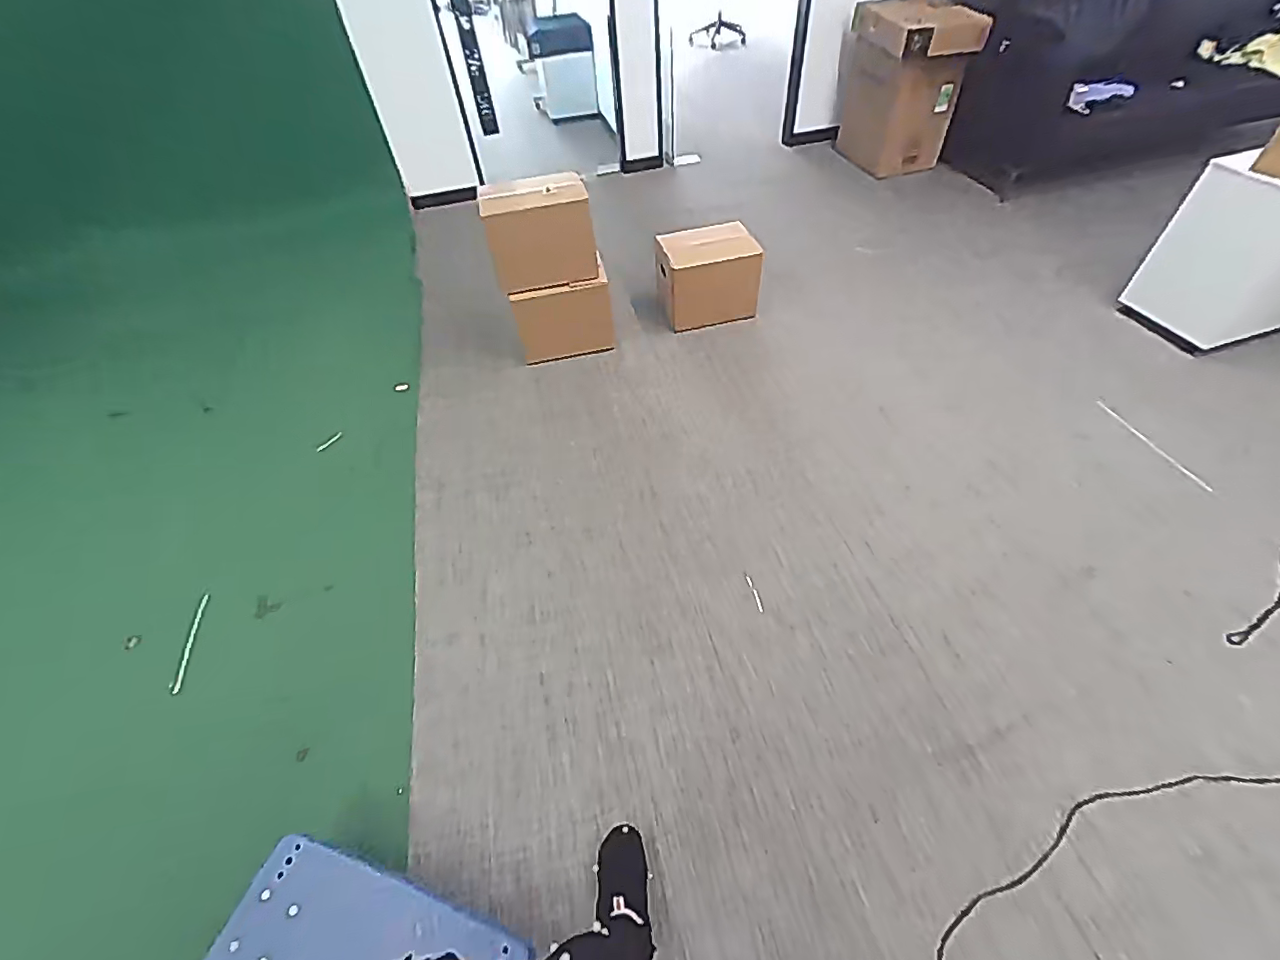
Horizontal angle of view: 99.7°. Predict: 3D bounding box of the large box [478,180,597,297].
[{"bbox_3d":[-0.406,-0.969,2.167,0.408,0.320,0.320,-12,47,-7],"label":"large box"}]
